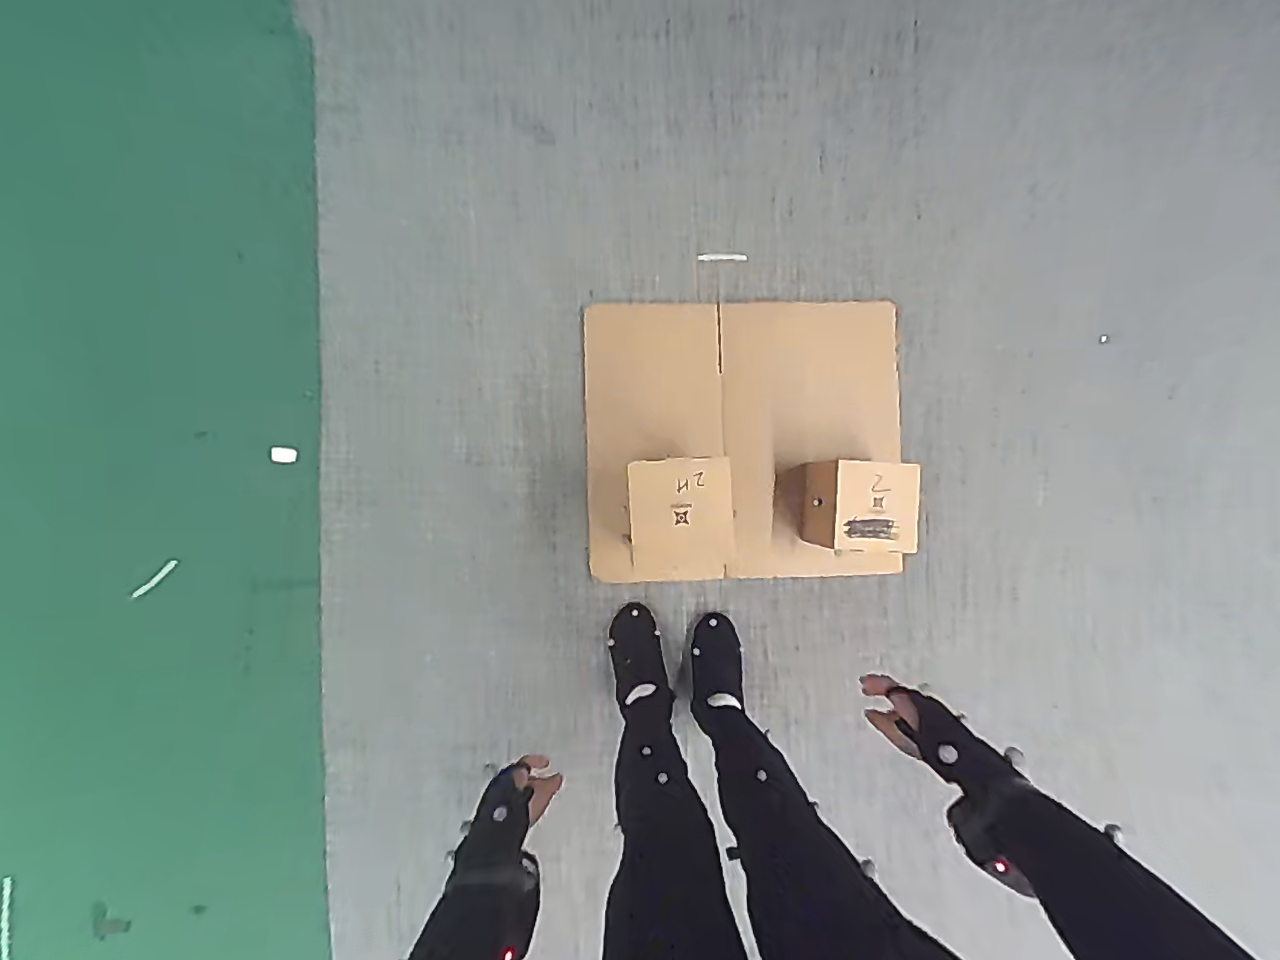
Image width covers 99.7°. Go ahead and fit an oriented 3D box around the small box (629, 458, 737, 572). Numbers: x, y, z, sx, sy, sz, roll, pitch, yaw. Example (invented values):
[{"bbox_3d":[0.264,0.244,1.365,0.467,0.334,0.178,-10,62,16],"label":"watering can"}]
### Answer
[{"bbox_3d":[0.067,0.055,0.932,0.168,0.176,0.179,-3,89,-3],"label":"small box"}]
